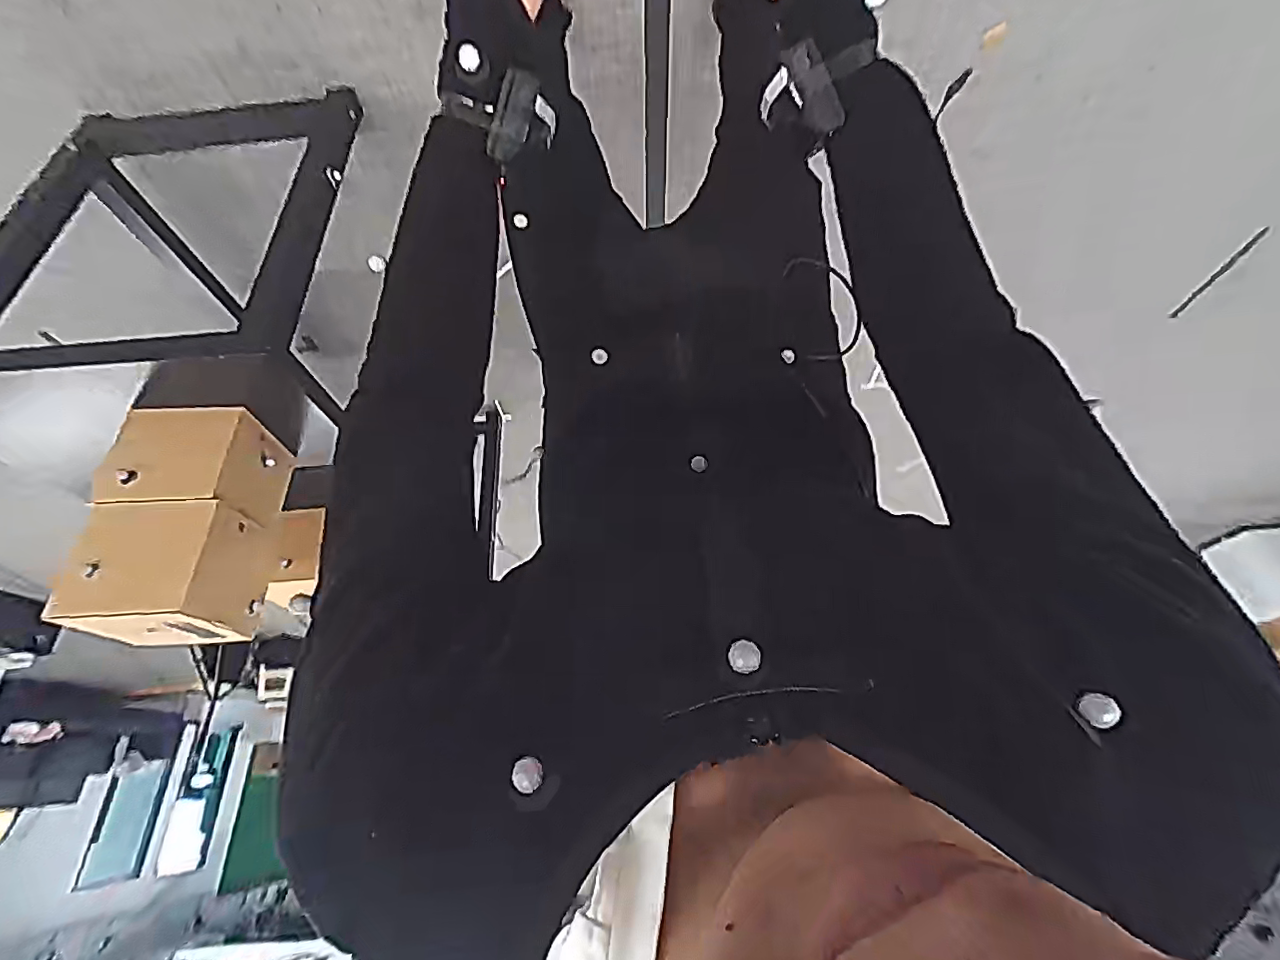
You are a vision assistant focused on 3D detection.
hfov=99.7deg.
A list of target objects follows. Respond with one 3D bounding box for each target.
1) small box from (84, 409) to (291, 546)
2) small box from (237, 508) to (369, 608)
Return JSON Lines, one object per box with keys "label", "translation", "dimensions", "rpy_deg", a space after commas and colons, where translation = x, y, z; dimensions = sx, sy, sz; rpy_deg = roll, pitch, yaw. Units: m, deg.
{"label": "small box", "translation": [-0.711, -0.003, 0.876], "dimensions": [0.179, 0.176, 0.168], "rpy_deg": [-2, 152, -4]}
{"label": "small box", "translation": [-0.735, 0.174, 1.203], "dimensions": [0.179, 0.176, 0.168], "rpy_deg": [-5, 151, 0]}
